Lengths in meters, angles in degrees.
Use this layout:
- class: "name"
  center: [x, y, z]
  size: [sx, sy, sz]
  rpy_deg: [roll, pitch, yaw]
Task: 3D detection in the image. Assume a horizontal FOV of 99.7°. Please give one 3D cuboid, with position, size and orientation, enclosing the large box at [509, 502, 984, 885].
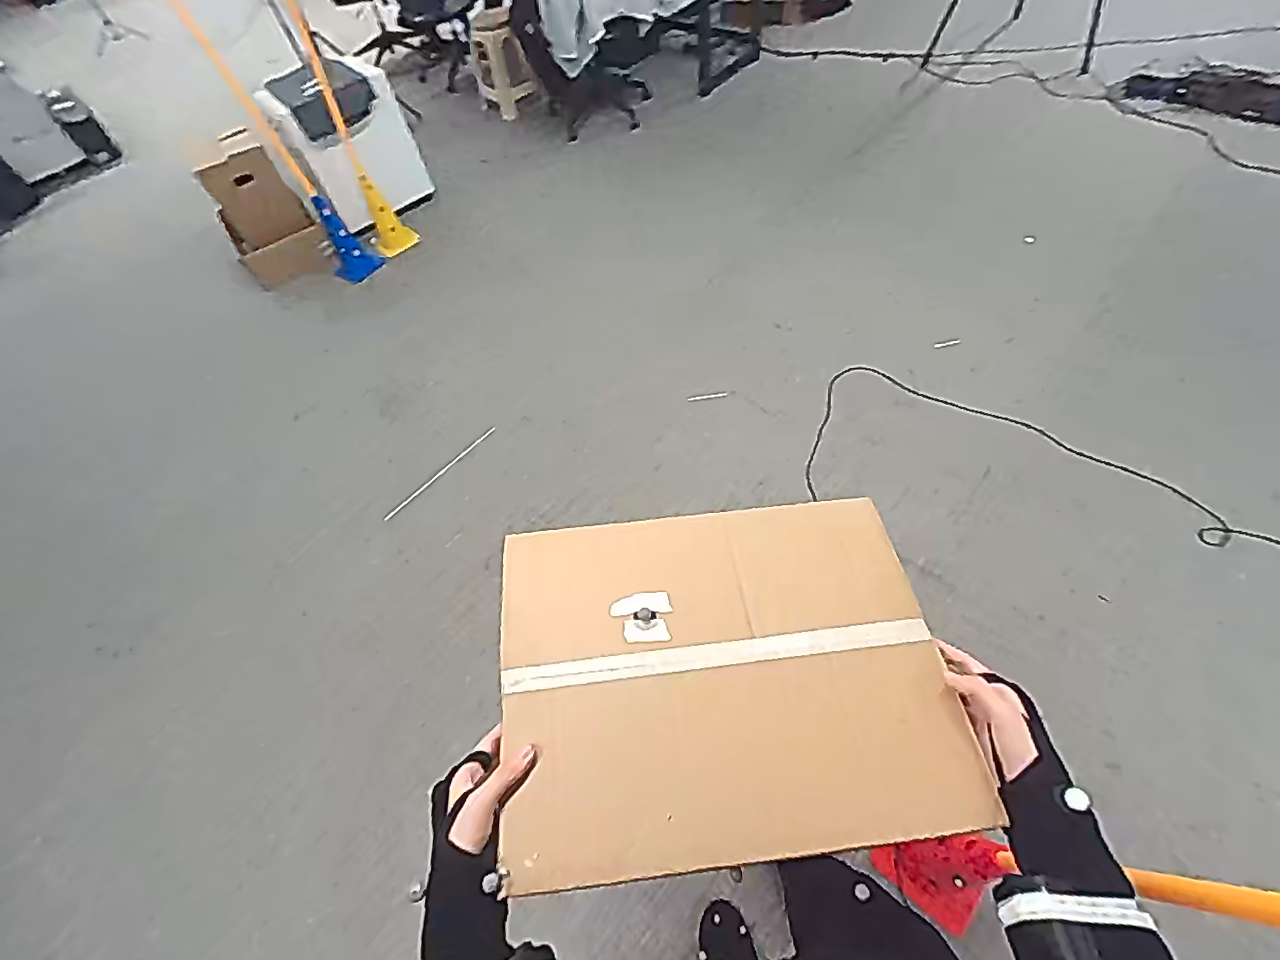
- class: "large box"
  center: [0.080, 0.254, 0.644]
  size: [0.408, 0.320, 0.320]
  rpy_deg: [-6, 55, -2]
